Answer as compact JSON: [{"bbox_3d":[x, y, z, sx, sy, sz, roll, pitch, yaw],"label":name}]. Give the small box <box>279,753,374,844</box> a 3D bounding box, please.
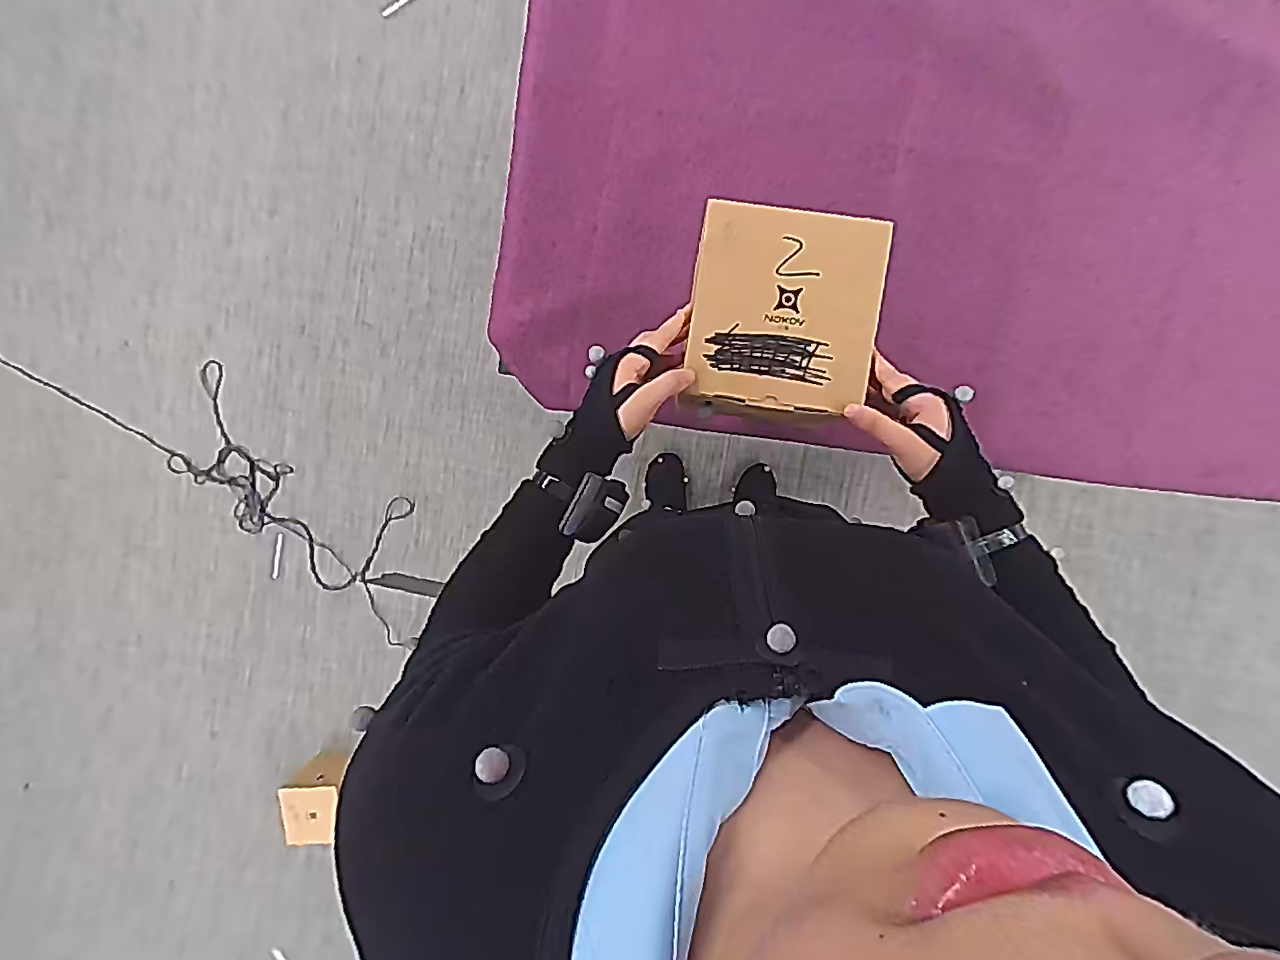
[{"bbox_3d":[-0.895,0.915,1.564,0.179,0.176,0.168,-6,94,6],"label":"small box"}]
